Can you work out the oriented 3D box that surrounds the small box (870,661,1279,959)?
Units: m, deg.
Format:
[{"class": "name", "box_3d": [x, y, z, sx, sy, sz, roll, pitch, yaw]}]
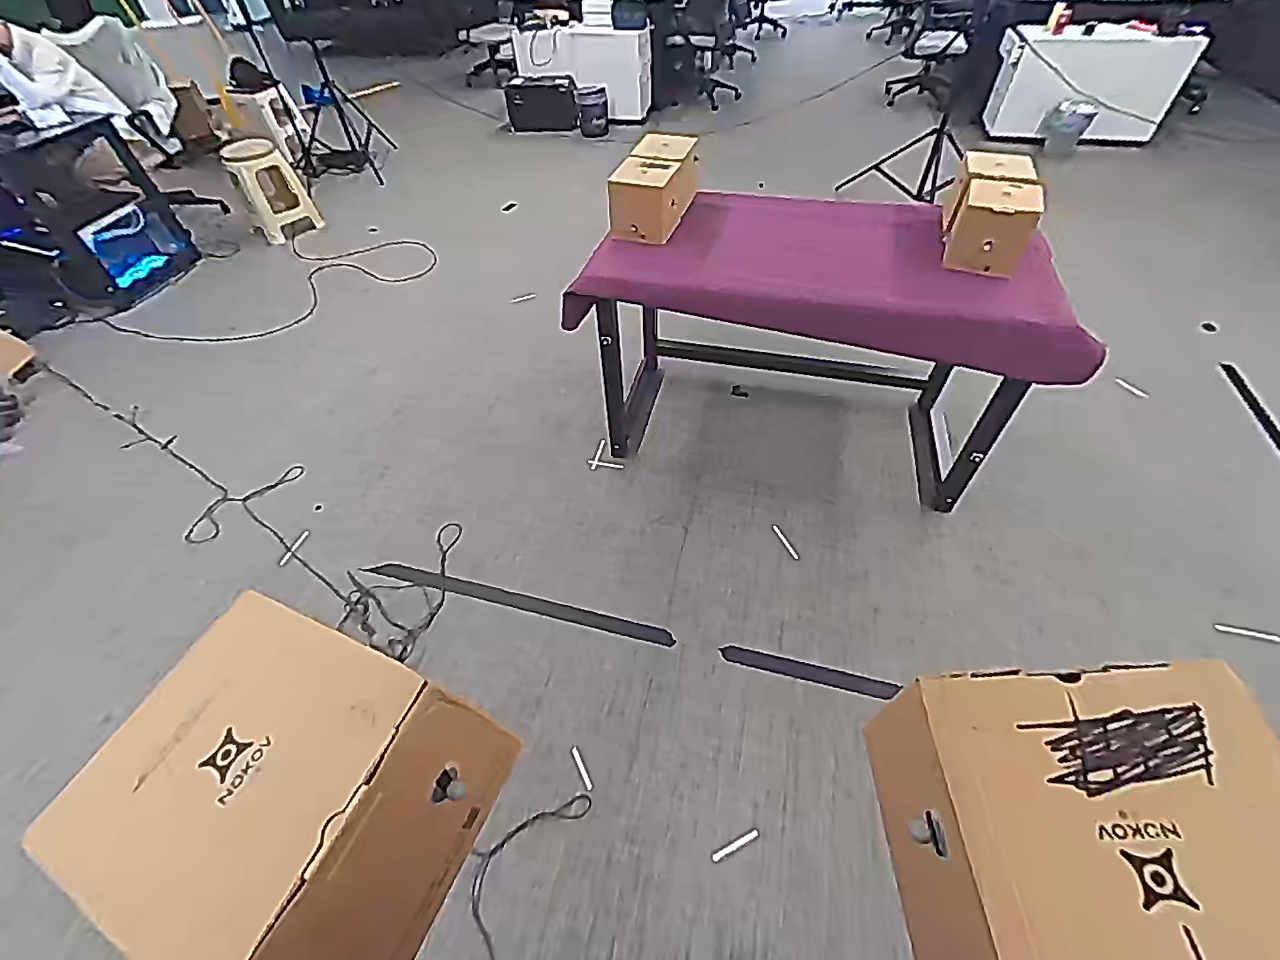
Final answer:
[{"class": "small box", "box_3d": [0.256, 0.224, 0.327, 0.168, 0.176, 0.179, -6, 56, 6]}]

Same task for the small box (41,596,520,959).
[{"class": "small box", "box_3d": [-0.212, 0.210, 0.372, 0.179, 0.176, 0.168, 14, 56, 22]}]

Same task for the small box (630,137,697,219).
[{"class": "small box", "box_3d": [0.073, -0.945, 1.693, 0.168, 0.176, 0.179, 13, 52, 14]}]

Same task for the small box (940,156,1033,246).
[{"class": "small box", "box_3d": [0.961, -0.784, 1.519, 0.168, 0.176, 0.179, 13, 50, 13]}]
